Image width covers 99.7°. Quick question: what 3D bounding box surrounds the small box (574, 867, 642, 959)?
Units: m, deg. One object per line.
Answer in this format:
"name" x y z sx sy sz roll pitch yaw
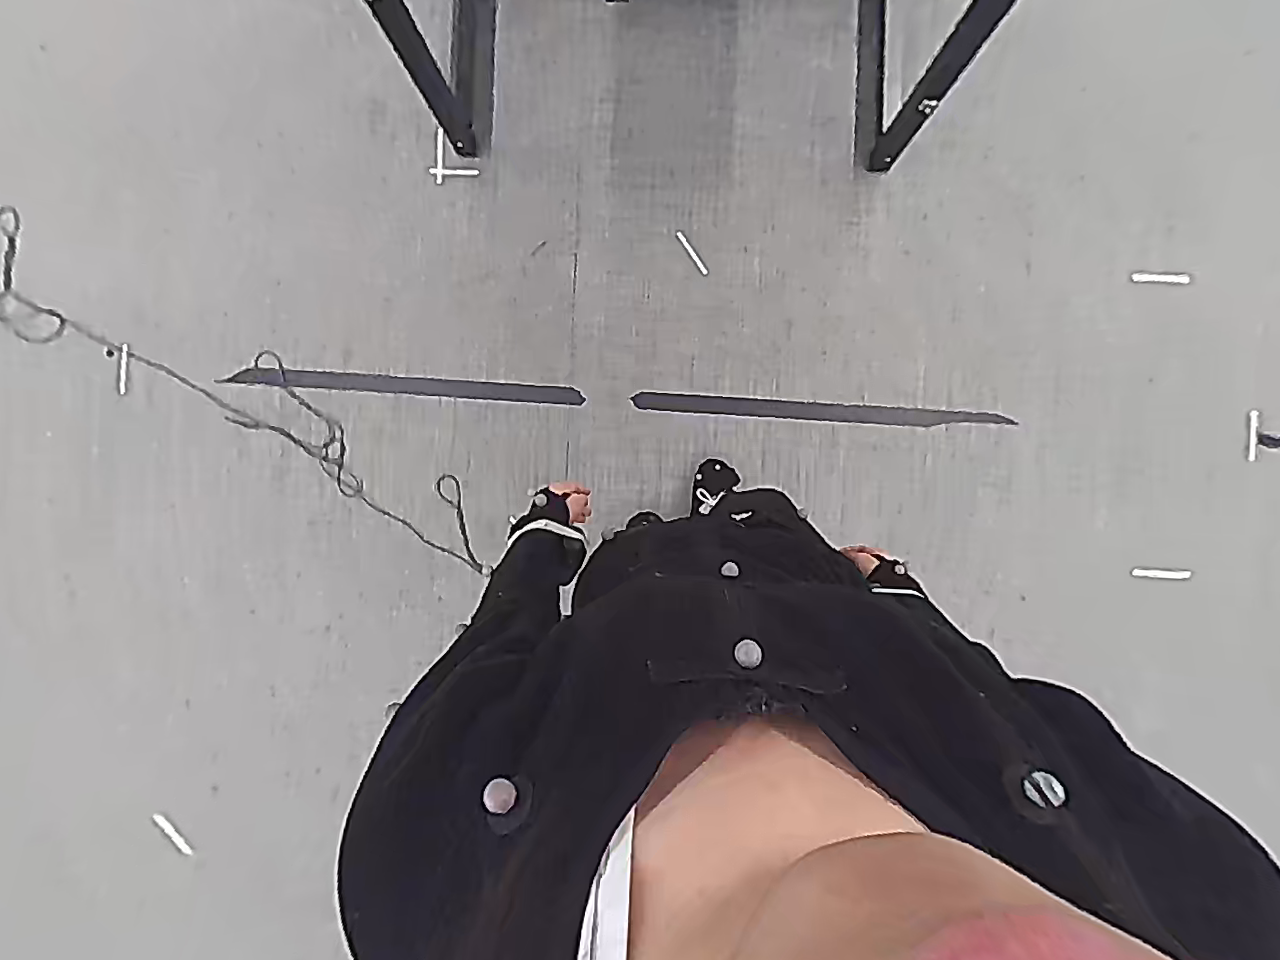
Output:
"small box" -0.080 1.154 1.415 0.168 0.176 0.179 1 91 1
